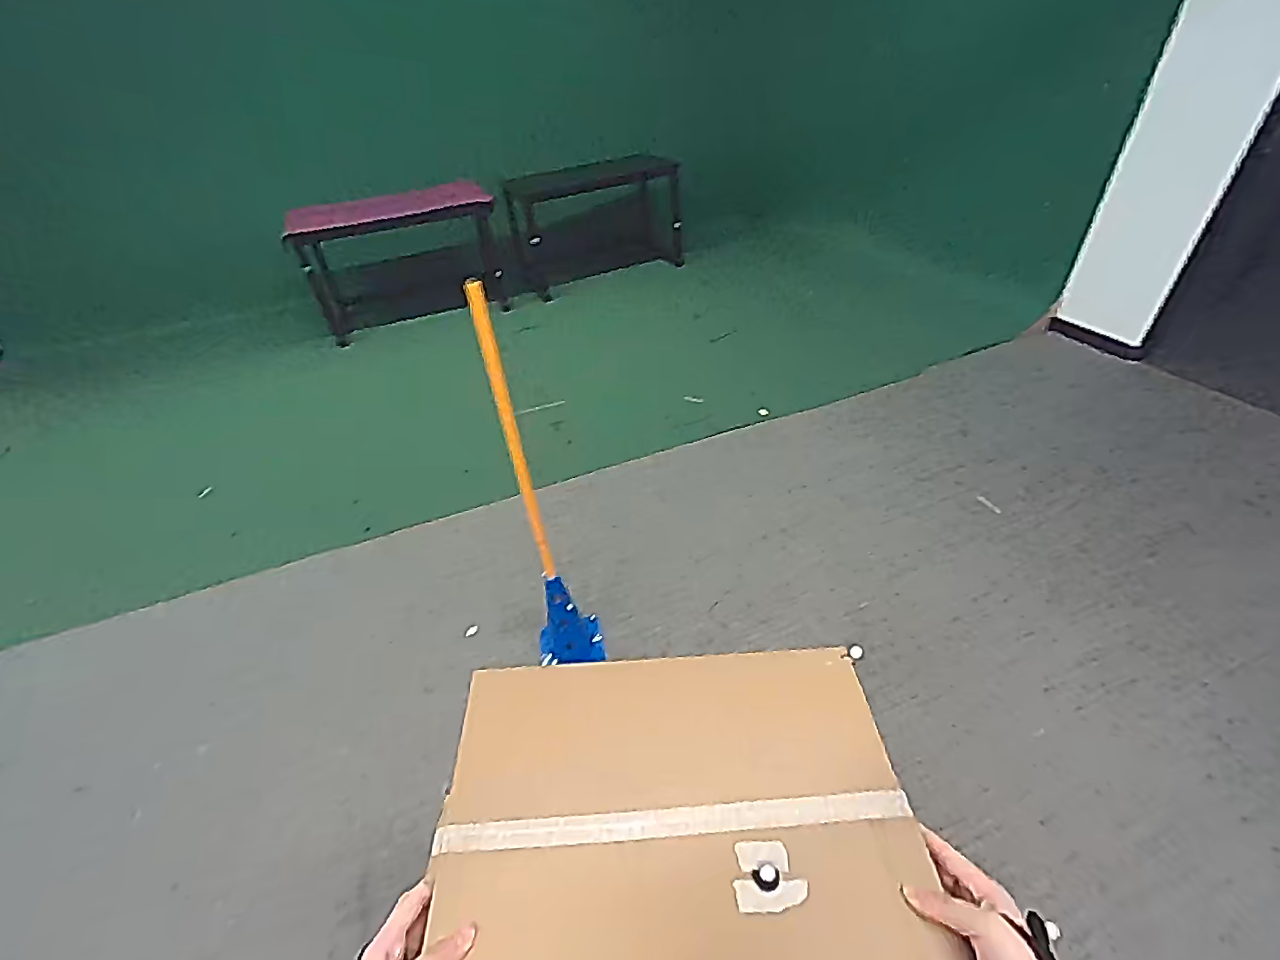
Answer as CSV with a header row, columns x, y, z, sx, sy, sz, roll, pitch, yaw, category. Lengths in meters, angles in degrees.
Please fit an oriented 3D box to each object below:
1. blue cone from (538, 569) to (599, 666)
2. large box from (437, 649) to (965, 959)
x,y,z,sx,sy,sz,roll,pitch,yaw,category
-0.244,0.417,1.654,0.193,0.380,0.192,-11,39,-6,blue cone
0.037,0.409,0.575,0.408,0.320,0.320,-2,42,-3,large box
